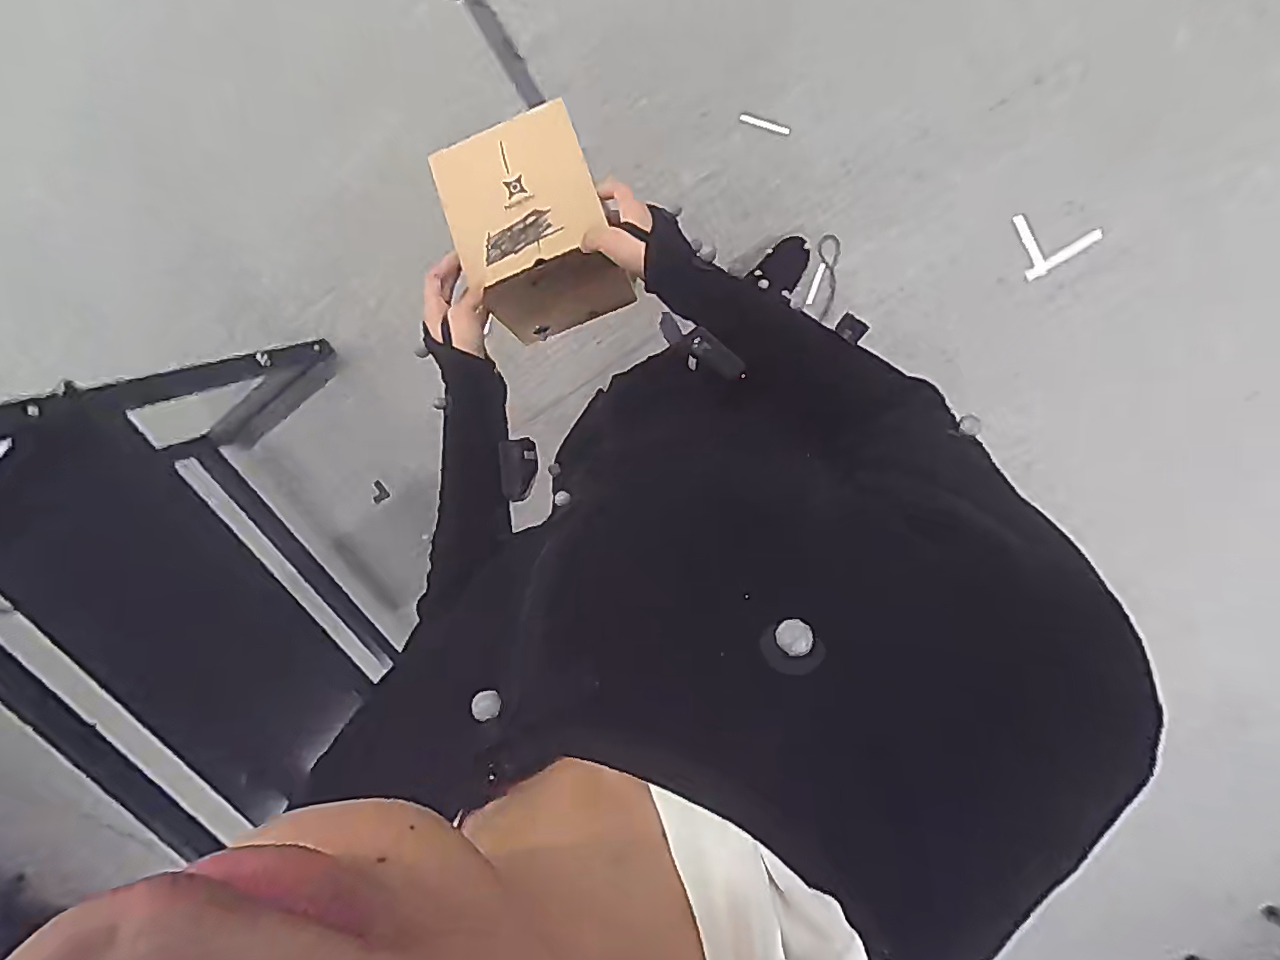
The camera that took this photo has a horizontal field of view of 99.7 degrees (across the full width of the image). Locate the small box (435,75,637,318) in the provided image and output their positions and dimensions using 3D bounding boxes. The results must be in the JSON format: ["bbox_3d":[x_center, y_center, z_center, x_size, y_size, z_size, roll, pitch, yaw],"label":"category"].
[{"bbox_3d":[-0.111,-0.315,0.647,0.168,0.176,0.179,-19,82,5],"label":"small box"}]
